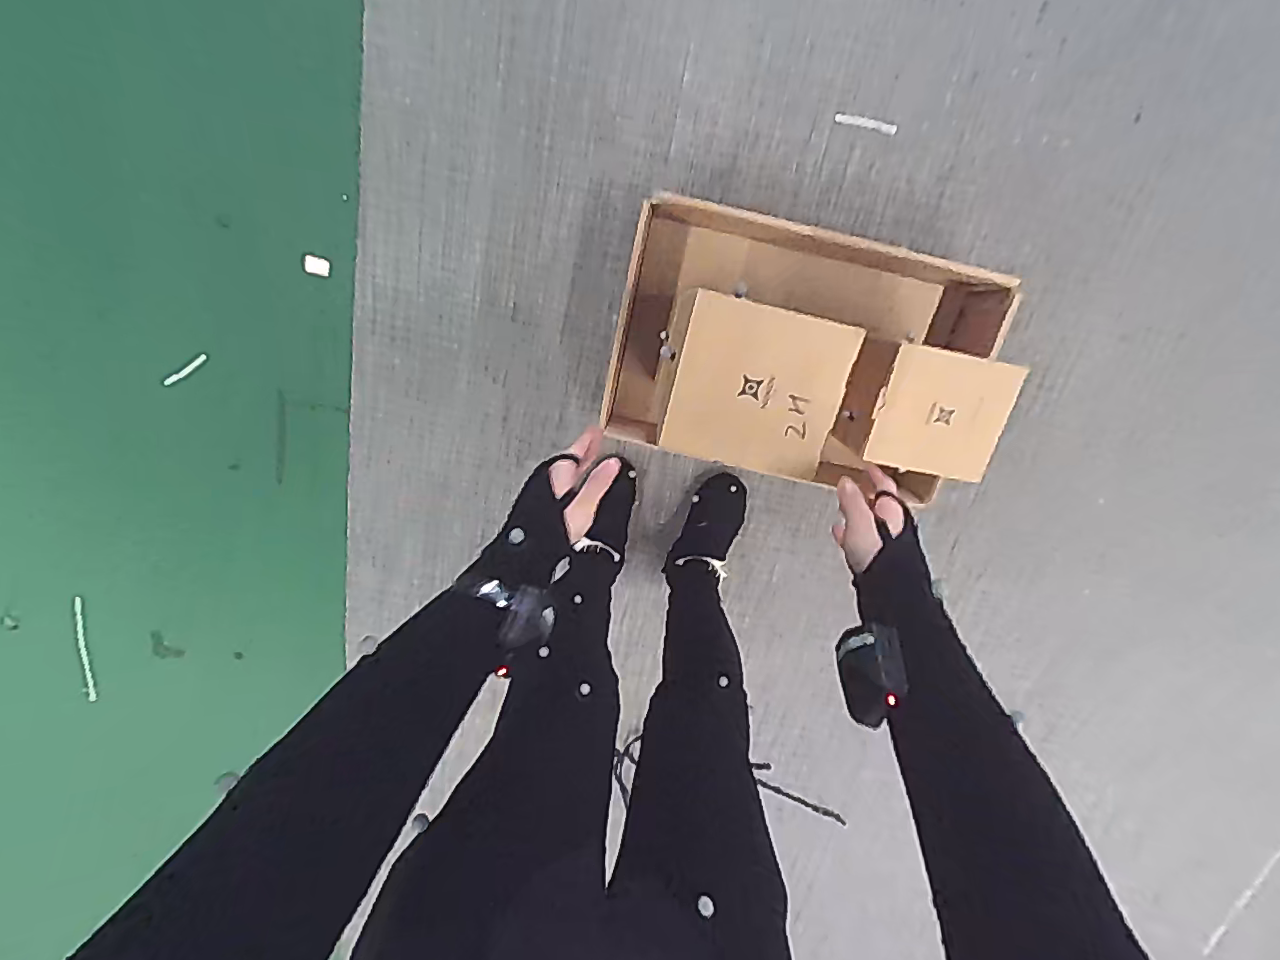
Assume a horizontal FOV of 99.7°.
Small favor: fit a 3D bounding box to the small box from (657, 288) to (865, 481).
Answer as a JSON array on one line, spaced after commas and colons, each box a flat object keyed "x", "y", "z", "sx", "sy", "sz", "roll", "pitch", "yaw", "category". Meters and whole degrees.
[{"x": 0.122, "y": -0.116, "z": 0.629, "sx": 0.179, "sy": 0.176, "sz": 0.168, "roll": 13, "pitch": 108, "yaw": -3, "category": "small box"}]

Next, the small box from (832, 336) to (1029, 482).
[{"x": 0.407, "y": -0.114, "z": 0.798, "sx": 0.179, "sy": 0.176, "sz": 0.168, "roll": 11, "pitch": 110, "yaw": -2, "category": "small box"}]
